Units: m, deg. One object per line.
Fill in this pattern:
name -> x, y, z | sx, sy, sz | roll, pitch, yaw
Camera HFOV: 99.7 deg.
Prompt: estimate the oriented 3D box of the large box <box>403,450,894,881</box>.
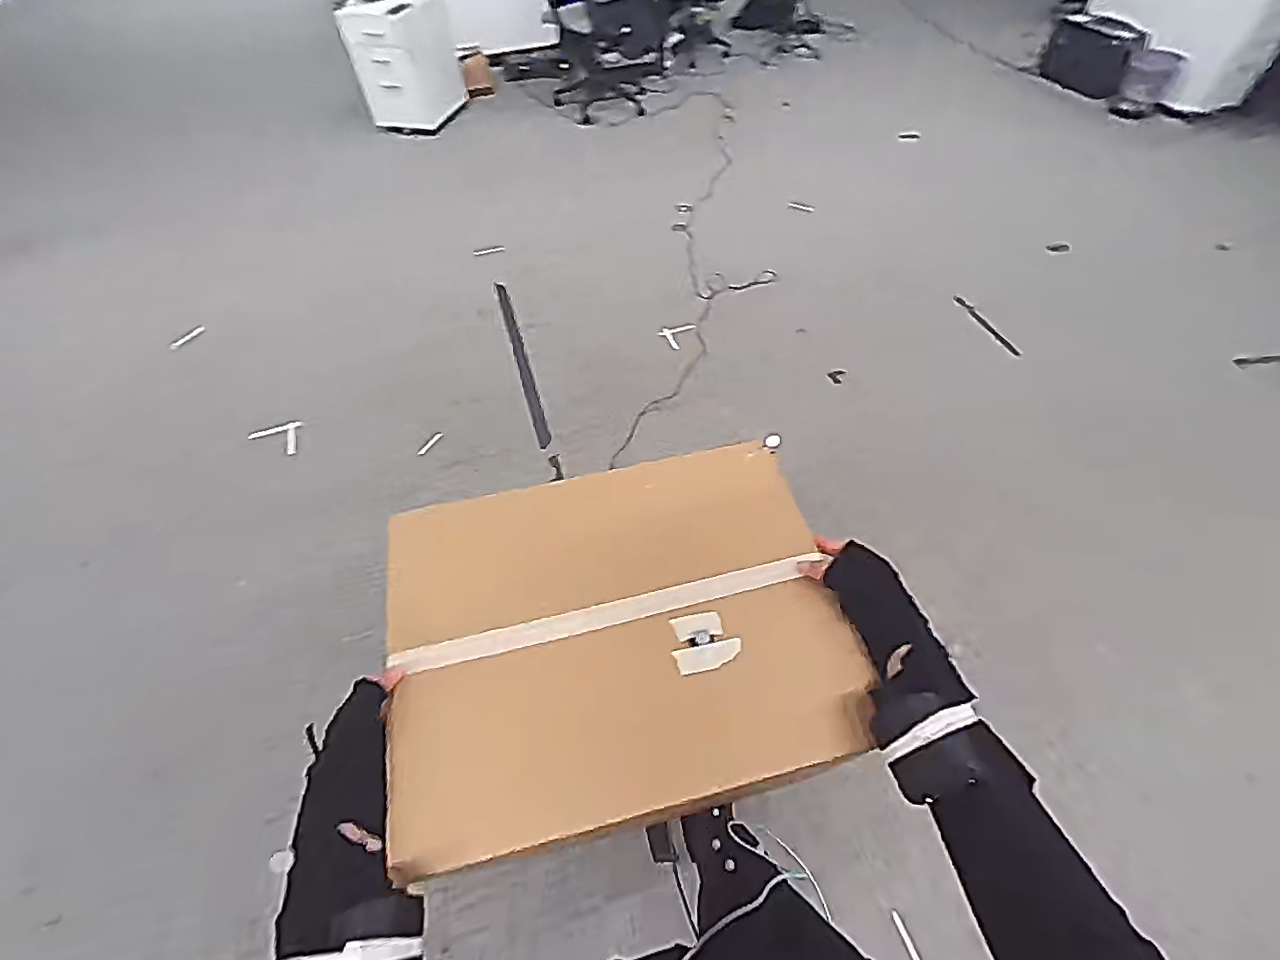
large box -> -0.016, 0.213, 0.625 | 0.408, 0.320, 0.320 | -12, 57, -8
